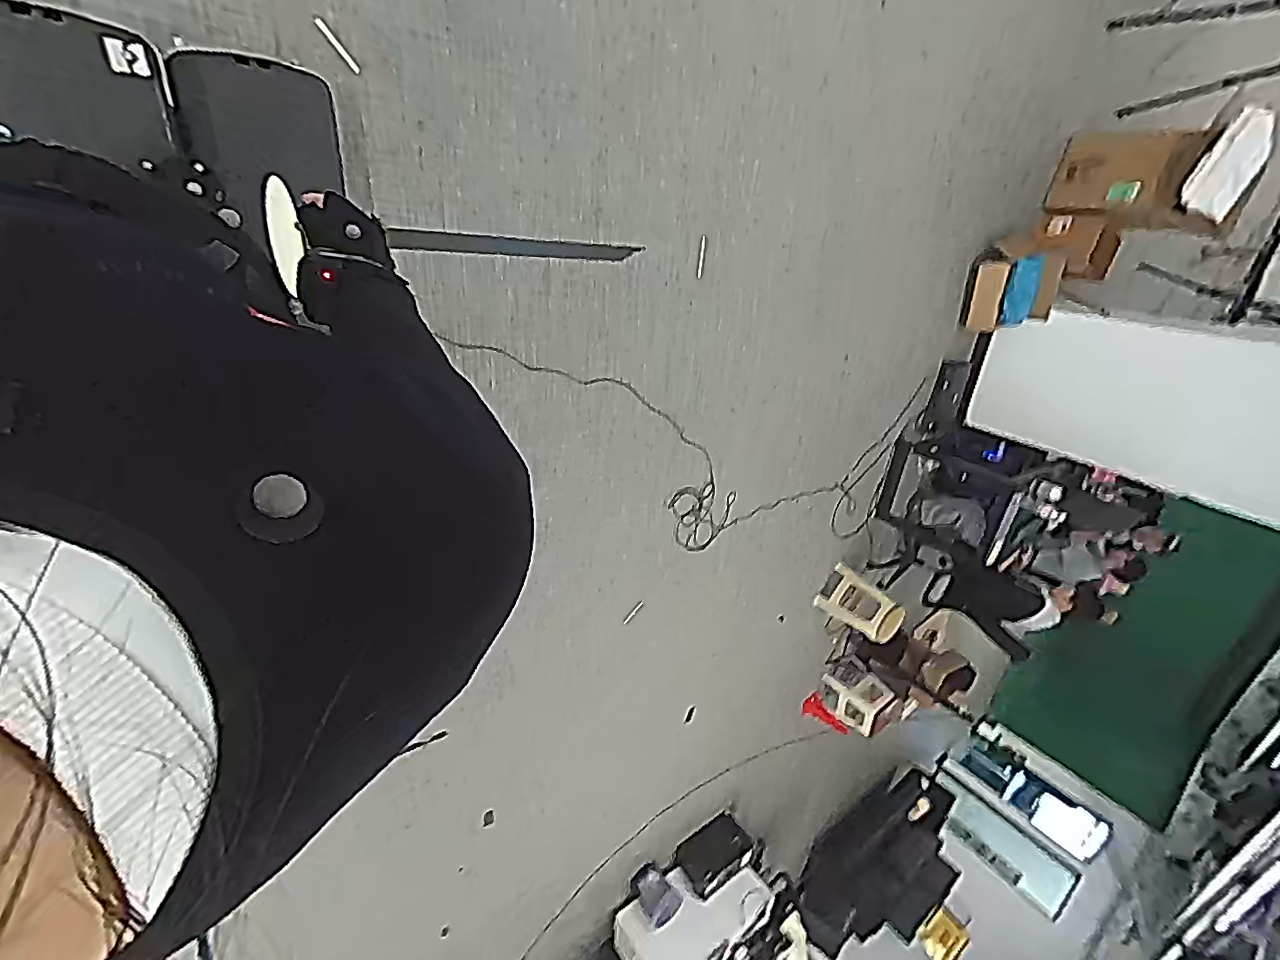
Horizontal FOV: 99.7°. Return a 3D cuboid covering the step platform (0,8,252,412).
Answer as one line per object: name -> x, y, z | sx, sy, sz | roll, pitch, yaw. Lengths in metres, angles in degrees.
step platform -> -1.011, -0.478, 1.065 | 0.286, 0.204, 0.684 | -15, 121, -34
